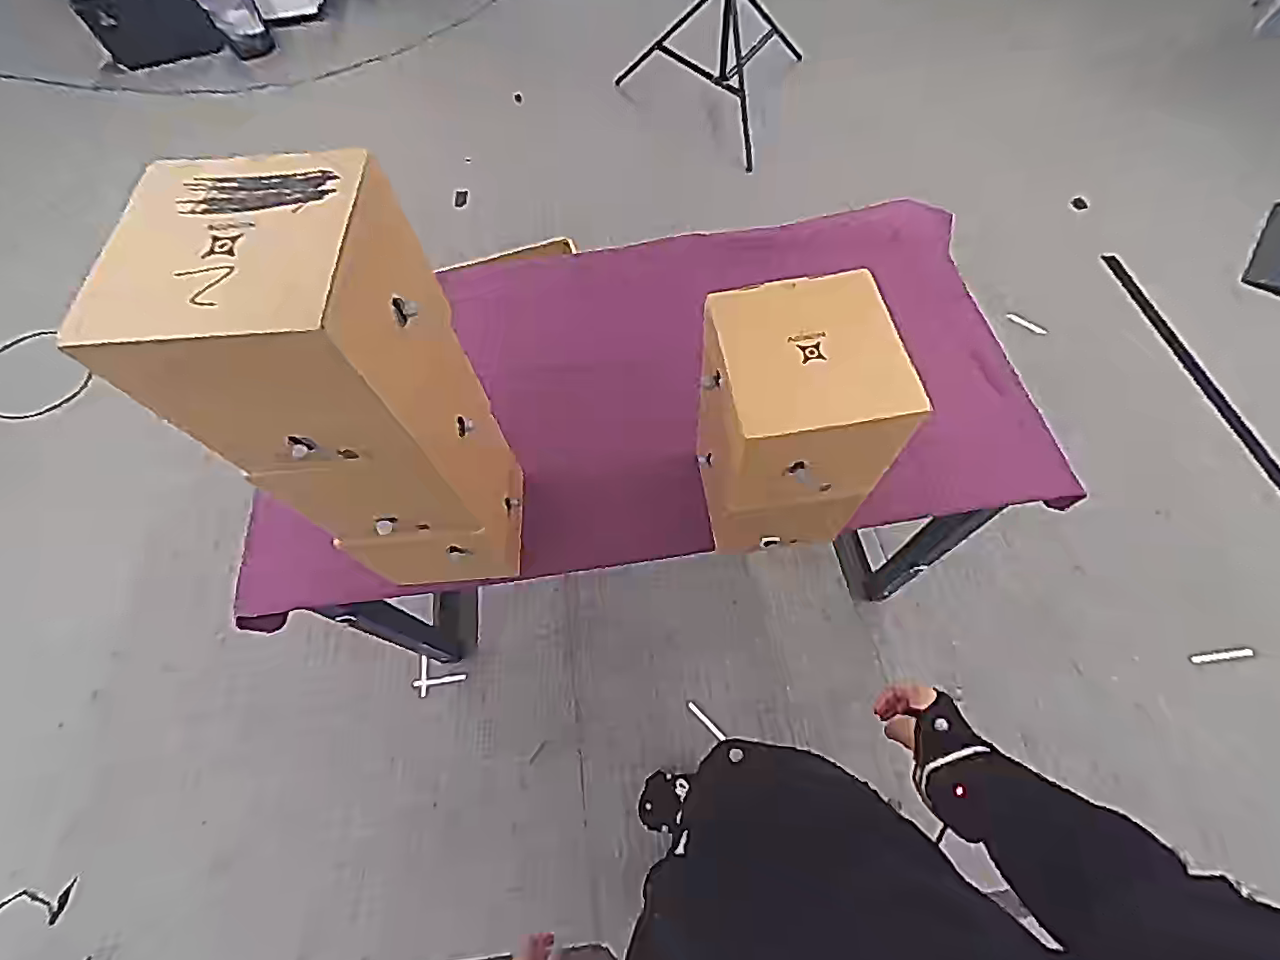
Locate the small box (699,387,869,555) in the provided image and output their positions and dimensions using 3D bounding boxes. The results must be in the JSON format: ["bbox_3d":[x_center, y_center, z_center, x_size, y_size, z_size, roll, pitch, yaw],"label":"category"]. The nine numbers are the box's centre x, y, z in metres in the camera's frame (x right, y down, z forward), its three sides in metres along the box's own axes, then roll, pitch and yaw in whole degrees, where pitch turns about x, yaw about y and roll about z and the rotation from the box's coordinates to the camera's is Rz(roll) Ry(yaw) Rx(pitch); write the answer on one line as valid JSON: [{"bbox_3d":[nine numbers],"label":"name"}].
[{"bbox_3d":[0.173,-0.017,0.716,0.168,0.176,0.179,-8,64,1],"label":"small box"}]

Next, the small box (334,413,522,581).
[{"bbox_3d":[-0.262,0.030,0.718,0.179,0.176,0.168,-5,63,1],"label":"small box"}]

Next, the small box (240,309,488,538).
[{"bbox_3d":[-0.268,-0.053,0.576,0.168,0.176,0.179,-5,64,1],"label":"small box"}]

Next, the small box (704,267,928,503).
[{"bbox_3d":[0.163,-0.087,0.570,0.168,0.176,0.179,-9,63,1],"label":"small box"}]
